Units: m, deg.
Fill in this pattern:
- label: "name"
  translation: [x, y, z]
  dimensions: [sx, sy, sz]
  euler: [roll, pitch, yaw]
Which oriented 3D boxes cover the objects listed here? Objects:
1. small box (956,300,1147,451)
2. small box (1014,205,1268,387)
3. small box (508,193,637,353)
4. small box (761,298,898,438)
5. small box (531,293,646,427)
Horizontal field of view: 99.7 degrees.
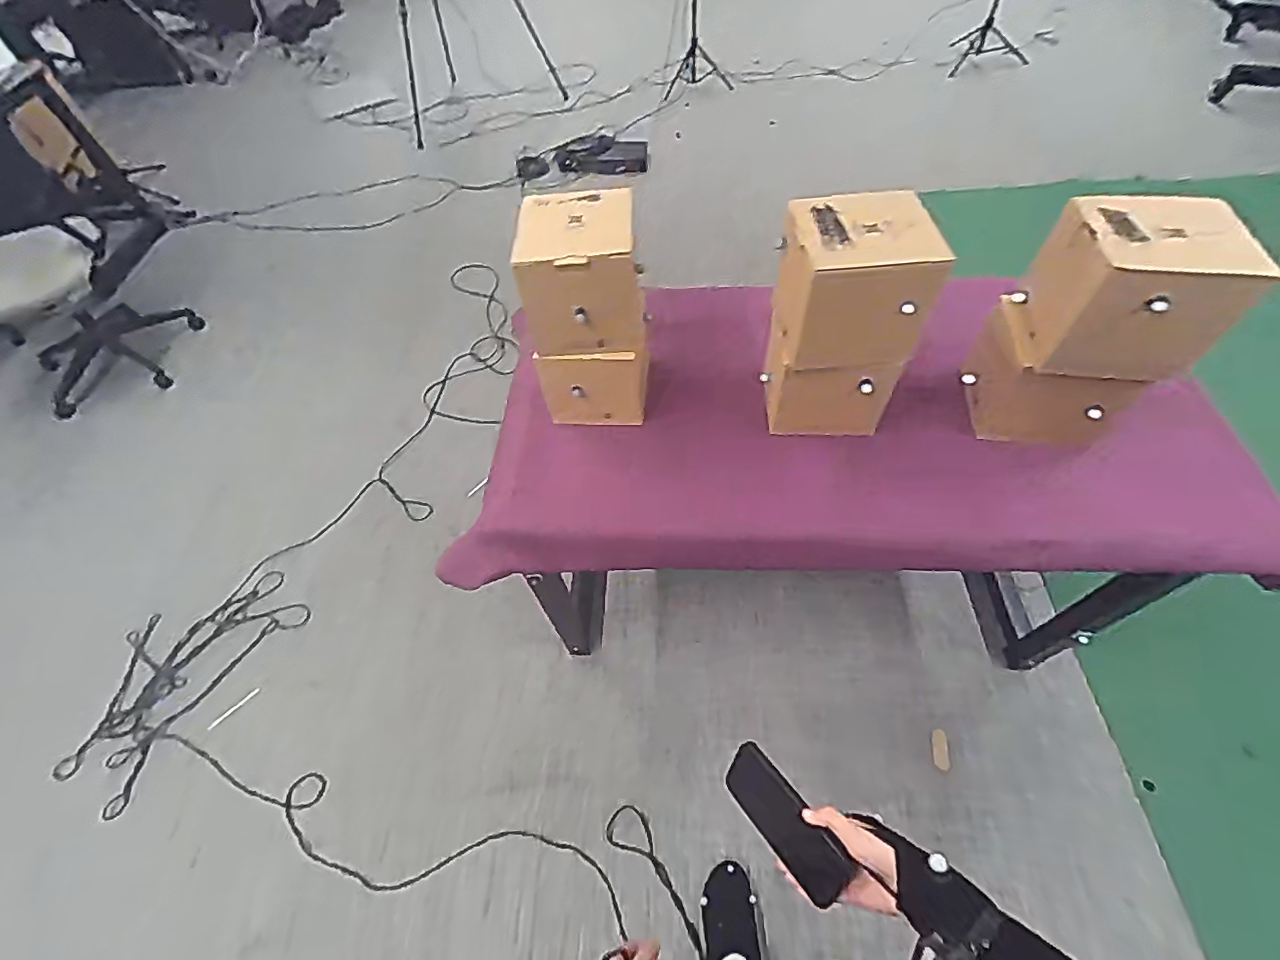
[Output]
- label: "small box"
  translation: [0.643, -0.163, 0.870]
  dimensions: [0.179, 0.176, 0.168]
  euler: [7, 56, 10]
- label: "small box"
  translation: [0.639, -0.243, 0.727]
  dimensions: [0.179, 0.176, 0.168]
  euler: [7, 56, 9]
- label: "small box"
  translation: [-0.092, -0.311, 0.836]
  dimensions: [0.168, 0.176, 0.179]
  euler: [-2, 56, 3]
- label: "small box"
  translation: [0.306, -0.184, 0.912]
  dimensions: [0.179, 0.176, 0.168]
  euler: [1, 55, 6]
- label: "small box"
  translation: [-0.080, -0.211, 0.966]
  dimensions: [0.168, 0.176, 0.179]
  euler: [2, 55, 6]
